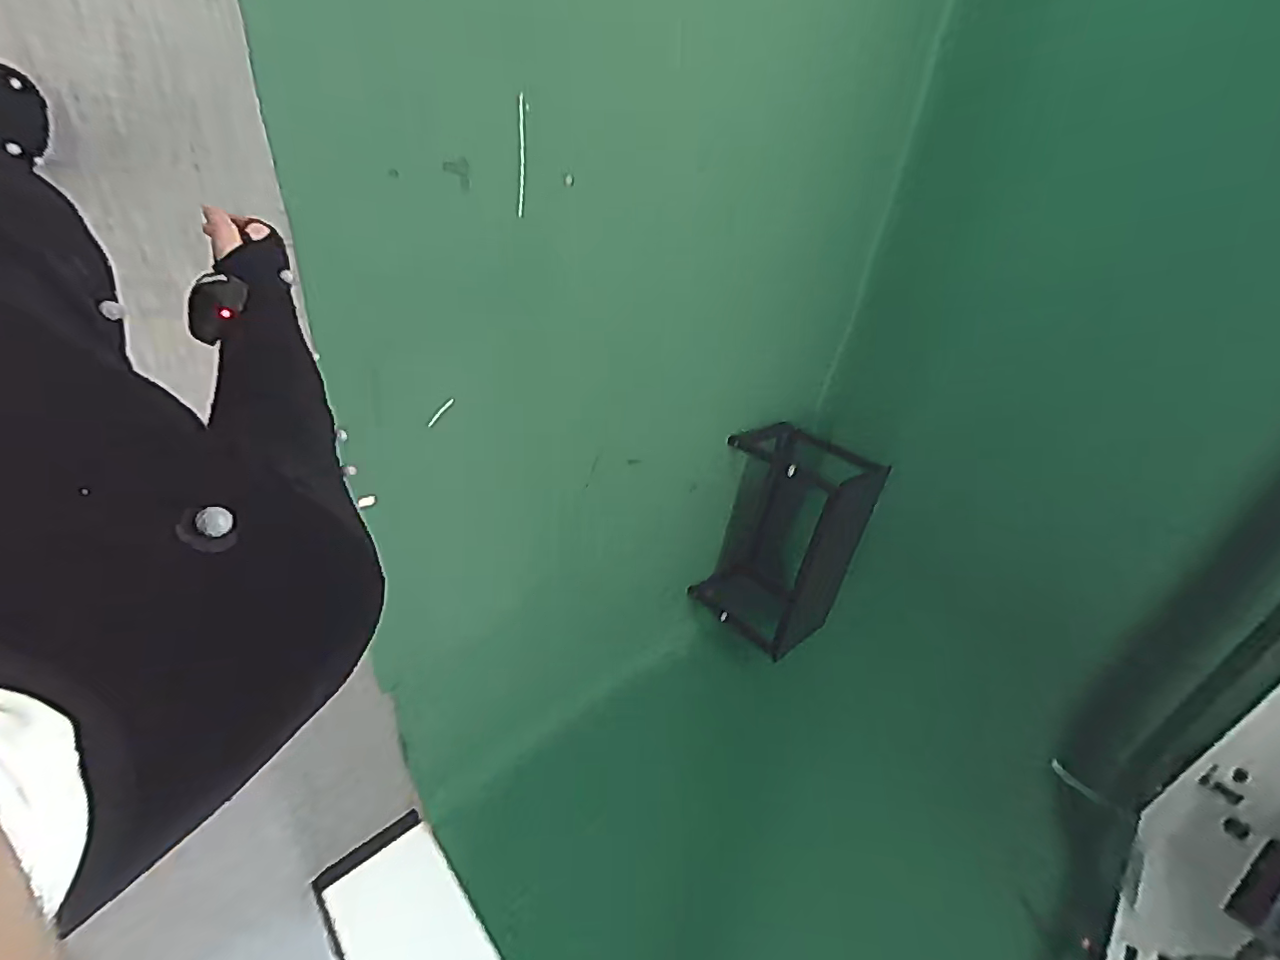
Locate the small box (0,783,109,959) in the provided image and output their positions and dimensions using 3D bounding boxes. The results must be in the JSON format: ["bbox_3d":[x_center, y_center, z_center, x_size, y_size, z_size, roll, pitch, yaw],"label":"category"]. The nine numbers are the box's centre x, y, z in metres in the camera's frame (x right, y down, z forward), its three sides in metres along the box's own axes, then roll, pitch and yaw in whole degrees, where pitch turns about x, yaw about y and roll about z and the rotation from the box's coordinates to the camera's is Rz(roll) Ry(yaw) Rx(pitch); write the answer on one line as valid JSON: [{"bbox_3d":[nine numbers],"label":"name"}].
[{"bbox_3d":[-1.038,0.665,0.916,0.168,0.176,0.179,-17,128,-42],"label":"small box"}]
